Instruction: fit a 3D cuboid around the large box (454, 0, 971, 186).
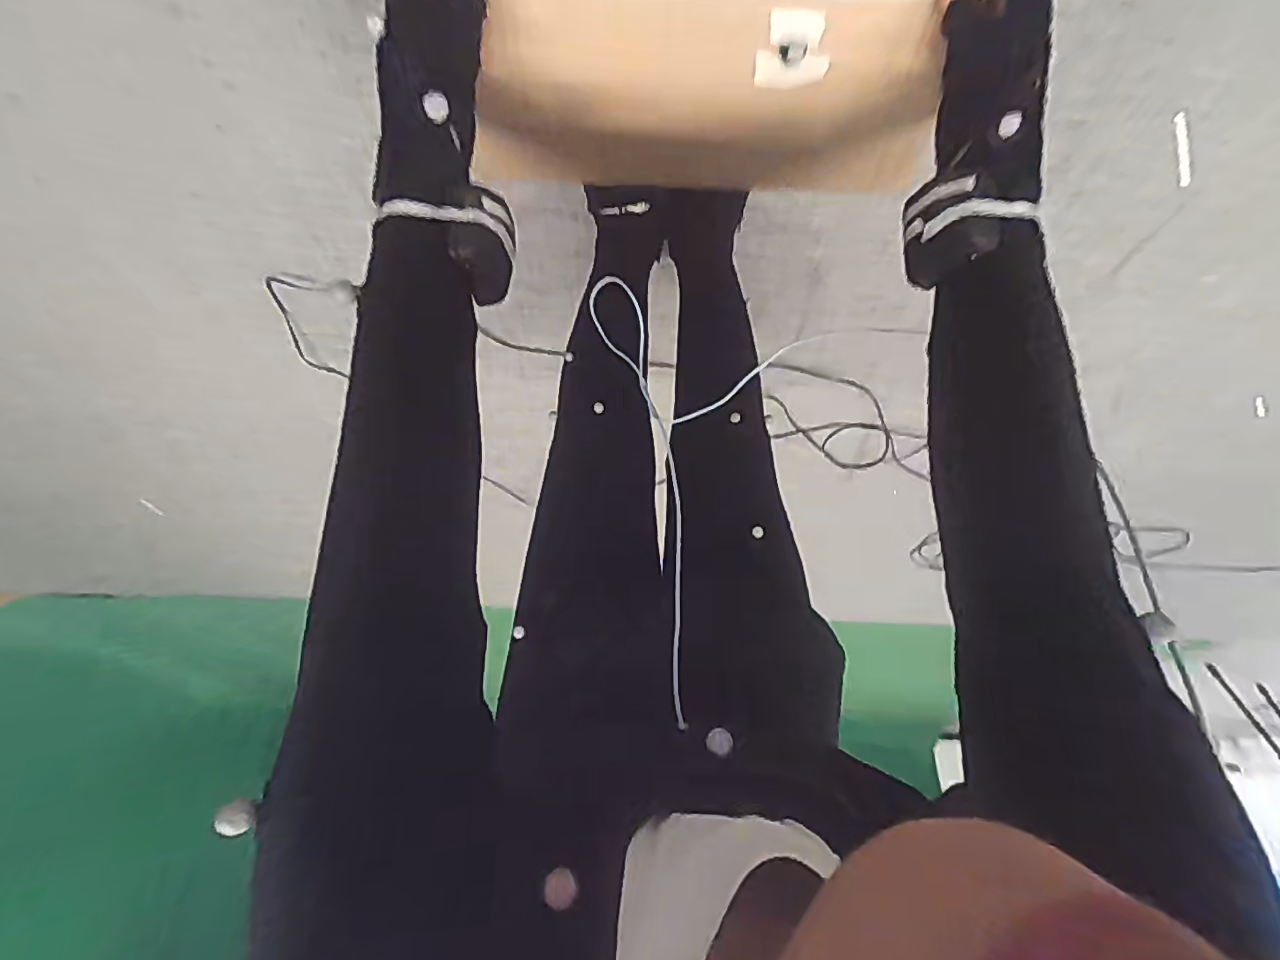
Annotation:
[{"bbox_3d":[0.054,-0.495,0.488,0.408,0.320,0.320,1,144,-1],"label":"large box"}]
